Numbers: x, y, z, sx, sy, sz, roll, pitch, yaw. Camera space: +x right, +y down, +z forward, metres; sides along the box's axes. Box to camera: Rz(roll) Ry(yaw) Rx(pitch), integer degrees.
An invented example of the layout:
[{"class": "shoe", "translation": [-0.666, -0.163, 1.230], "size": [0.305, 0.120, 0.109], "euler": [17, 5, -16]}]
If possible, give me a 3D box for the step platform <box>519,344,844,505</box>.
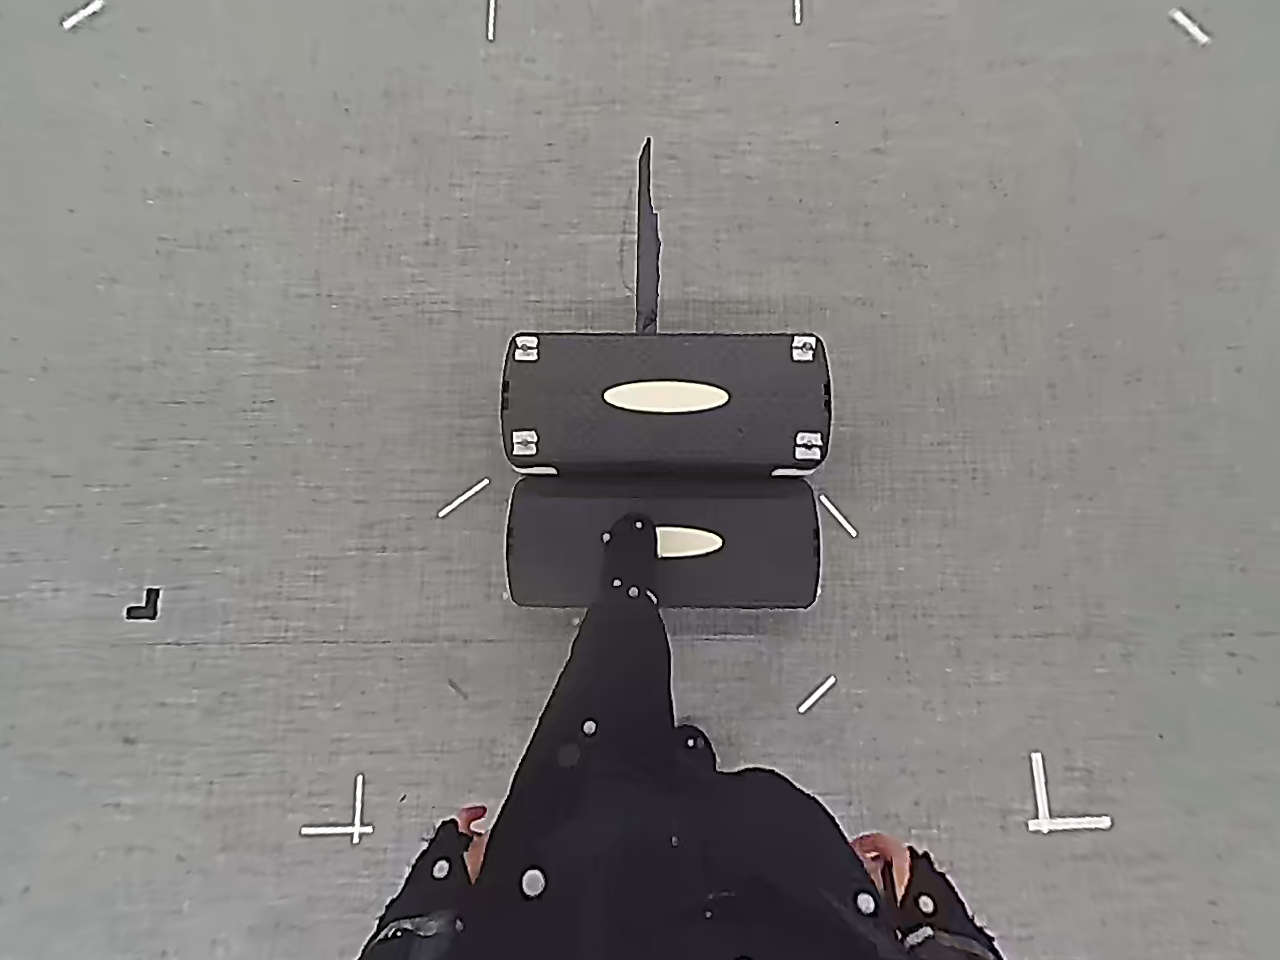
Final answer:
[{"class": "step platform", "translation": [0.084, -0.116, 1.180], "size": [0.684, 0.204, 0.286], "euler": [4, 81, 0]}]
